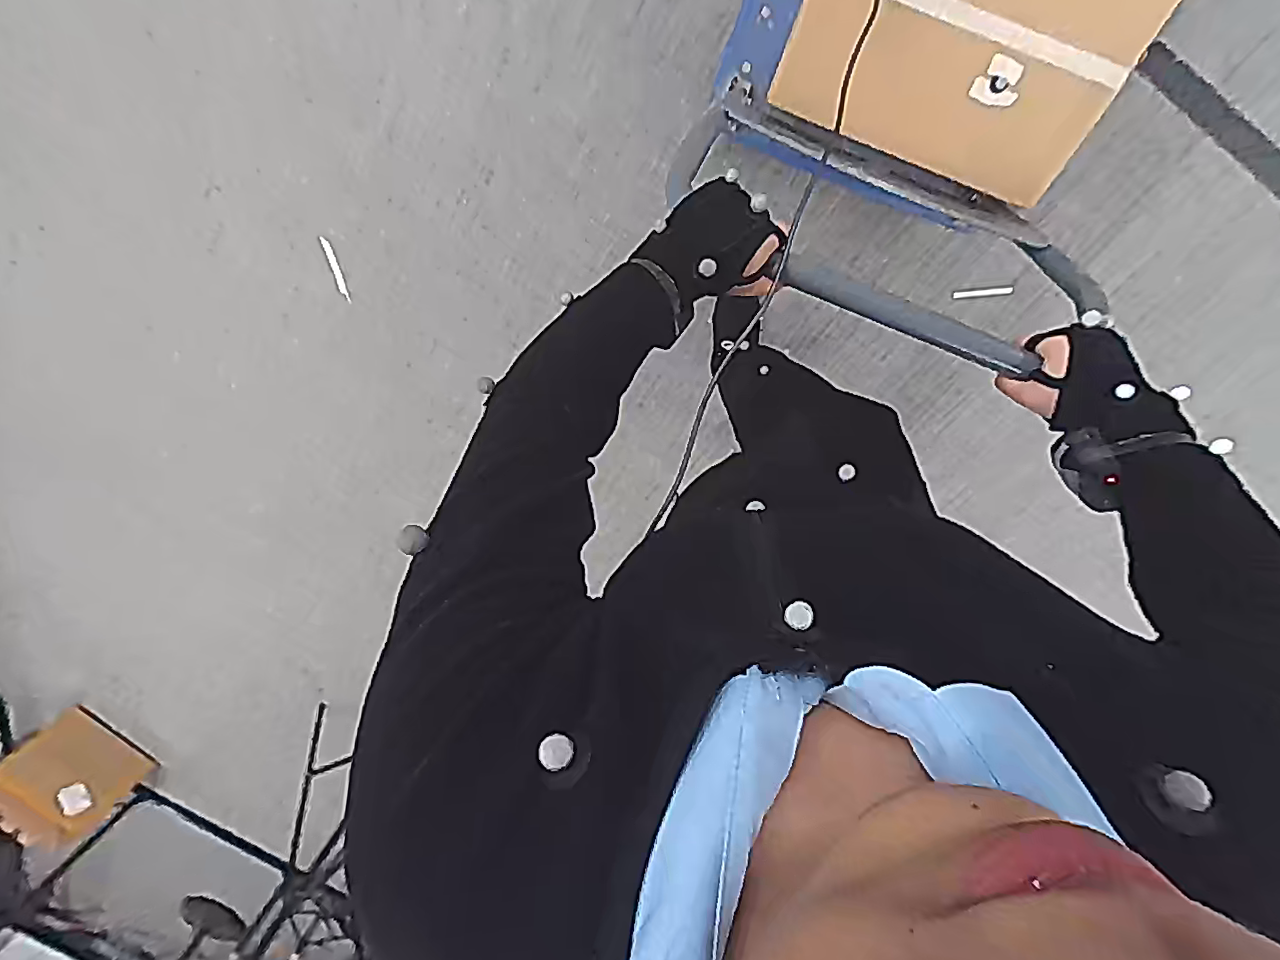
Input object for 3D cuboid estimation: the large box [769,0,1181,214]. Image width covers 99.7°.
[{"bbox_3d":[0.432,-0.638,0.781,0.408,0.320,0.320,21,128,-2],"label":"large box"}]
